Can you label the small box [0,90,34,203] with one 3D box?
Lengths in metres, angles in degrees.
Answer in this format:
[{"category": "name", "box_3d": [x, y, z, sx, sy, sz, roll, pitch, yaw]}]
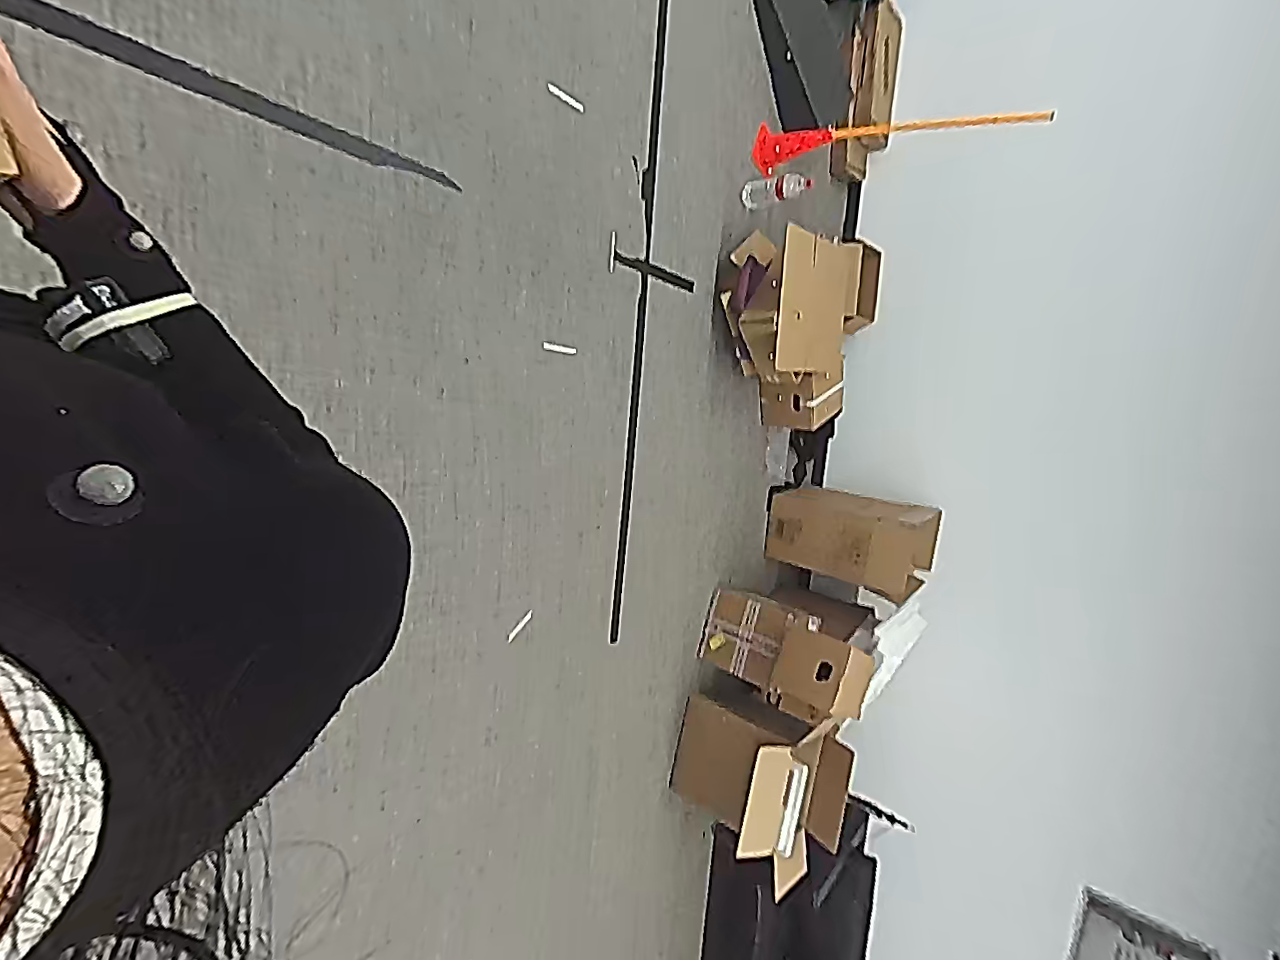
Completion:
[{"category": "small box", "box_3d": [-0.446, -0.225, 0.241, 0.168, 0.176, 0.179, -33, 127, -54]}]
